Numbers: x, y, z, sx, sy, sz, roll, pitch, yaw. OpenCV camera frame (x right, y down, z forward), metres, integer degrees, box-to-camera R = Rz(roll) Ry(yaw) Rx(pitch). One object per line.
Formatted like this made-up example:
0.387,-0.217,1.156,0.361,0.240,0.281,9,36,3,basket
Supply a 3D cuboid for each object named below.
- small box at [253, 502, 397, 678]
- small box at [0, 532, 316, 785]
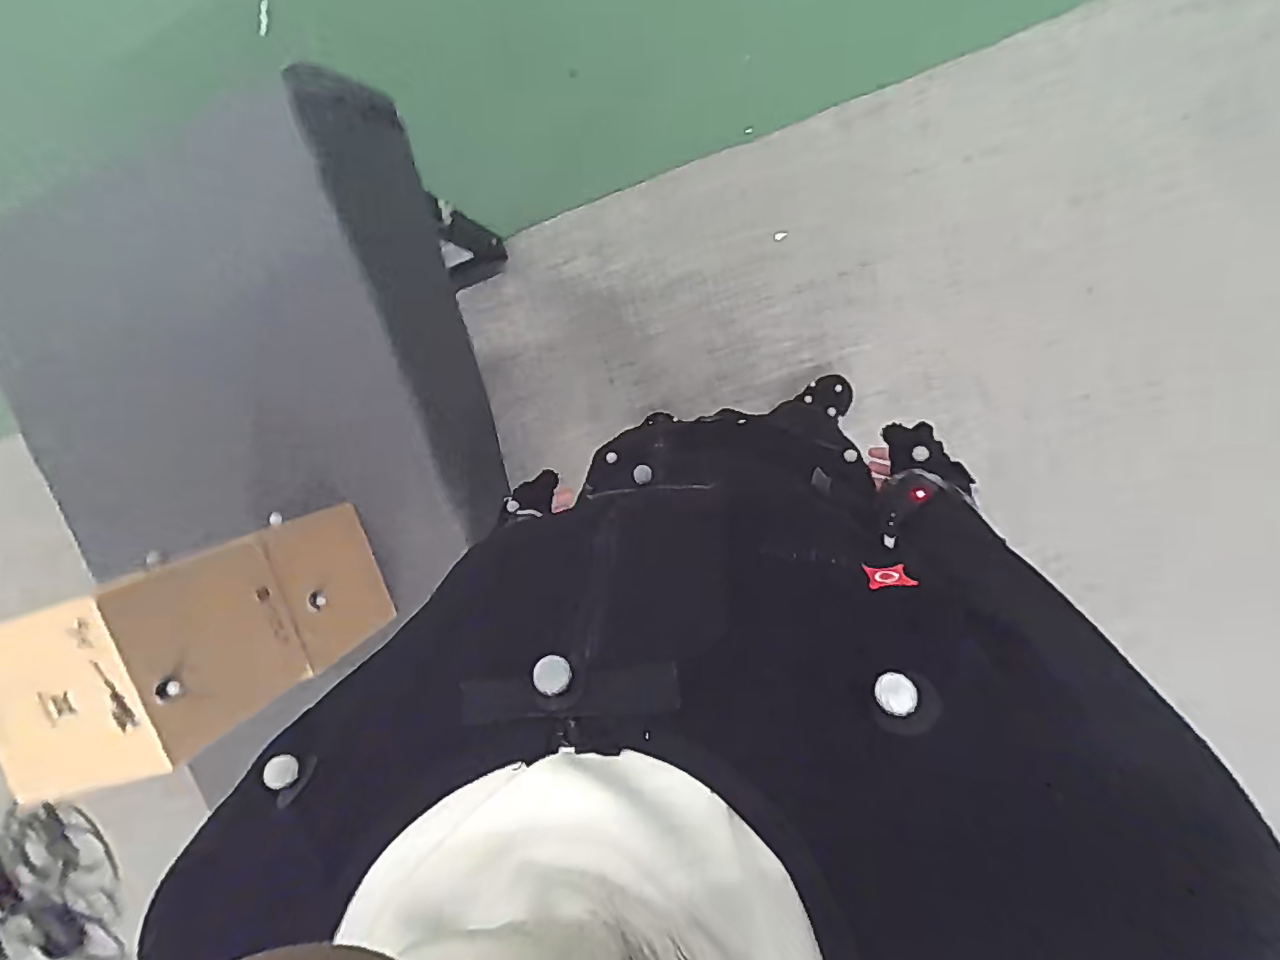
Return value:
-0.458,0.145,0.713,0.168,0.176,0.179,-17,97,11,small box
-0.487,0.169,0.556,0.179,0.176,0.168,-19,95,11,small box
